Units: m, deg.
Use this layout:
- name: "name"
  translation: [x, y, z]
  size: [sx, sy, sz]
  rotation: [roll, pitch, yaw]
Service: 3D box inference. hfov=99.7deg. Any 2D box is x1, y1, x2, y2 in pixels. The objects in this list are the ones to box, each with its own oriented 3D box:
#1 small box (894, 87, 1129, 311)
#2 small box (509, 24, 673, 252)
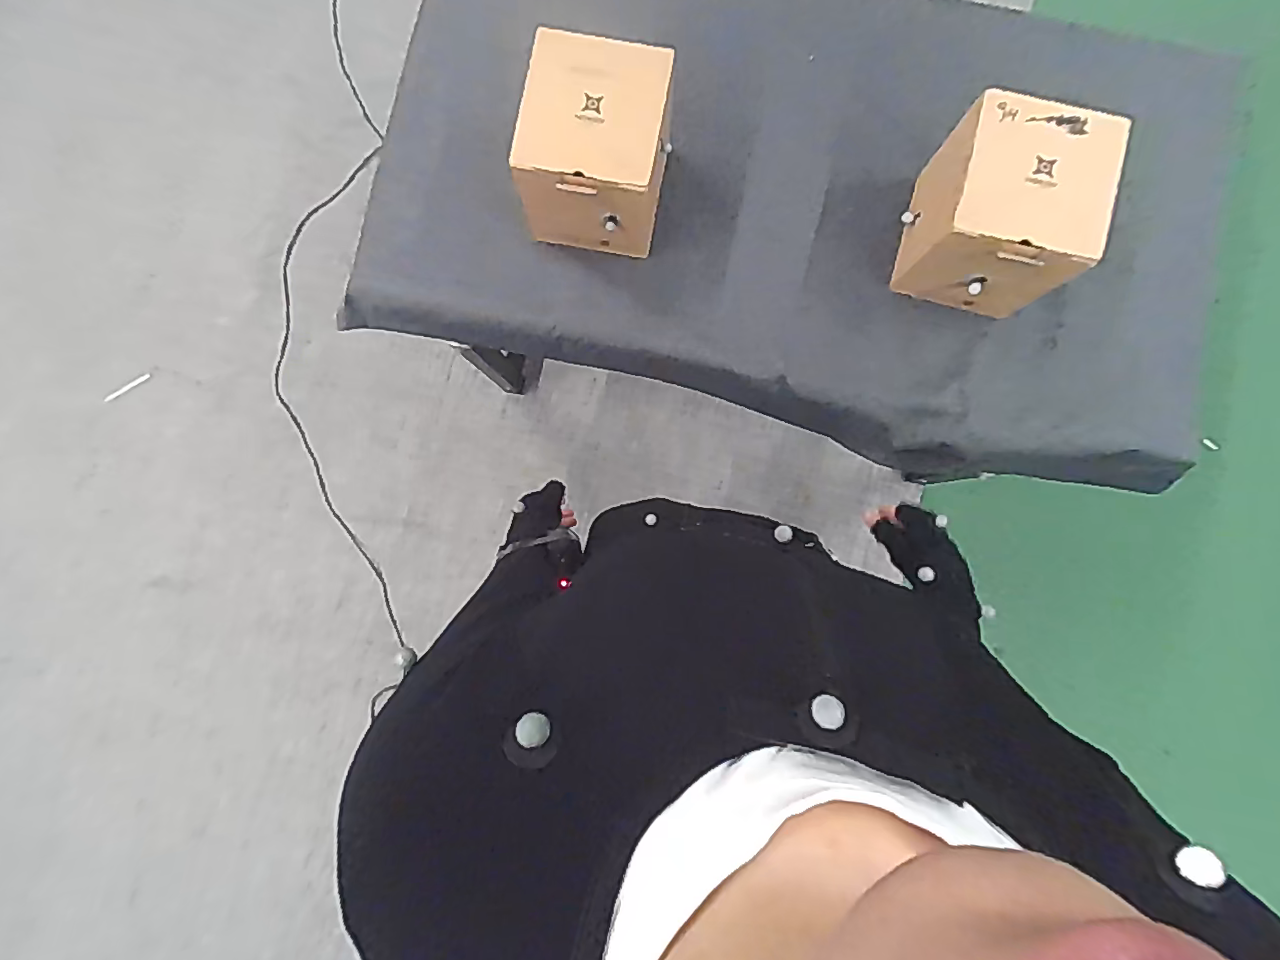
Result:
- name: "small box"
  translation: [0.449, -0.337, 0.685]
  size: [0.168, 0.176, 0.179]
  rotation: [15, 87, 2]
- name: "small box"
  translation: [-0.055, -0.424, 0.700]
  size: [0.168, 0.176, 0.179]
  rotation: [10, 85, 0]
